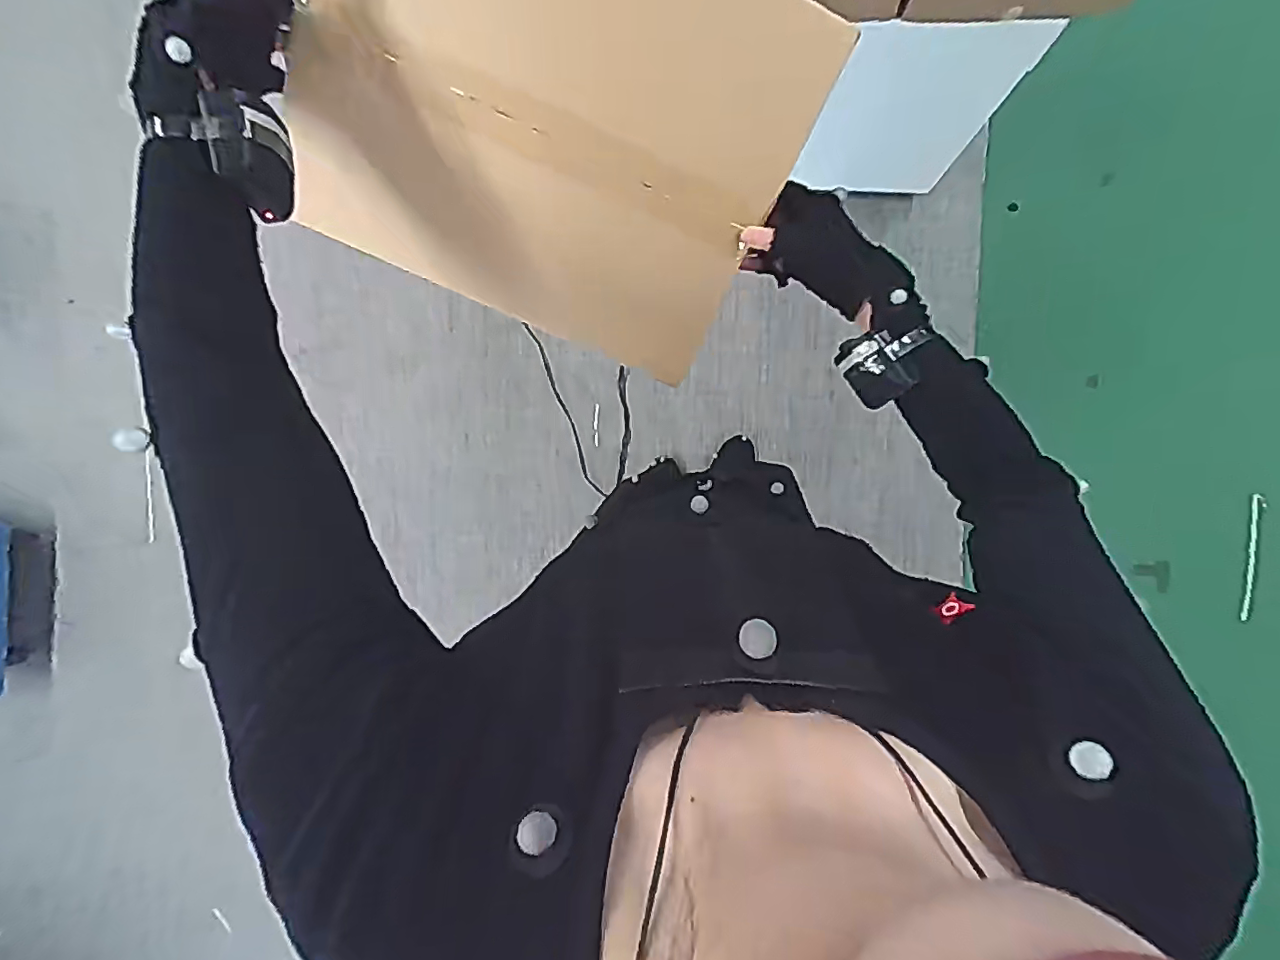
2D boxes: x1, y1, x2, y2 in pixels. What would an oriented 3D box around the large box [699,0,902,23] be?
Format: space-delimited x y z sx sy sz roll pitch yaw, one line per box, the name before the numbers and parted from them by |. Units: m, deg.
large box | 0.231 -0.910 0.688 0.320 0.320 0.408 5 92 8
